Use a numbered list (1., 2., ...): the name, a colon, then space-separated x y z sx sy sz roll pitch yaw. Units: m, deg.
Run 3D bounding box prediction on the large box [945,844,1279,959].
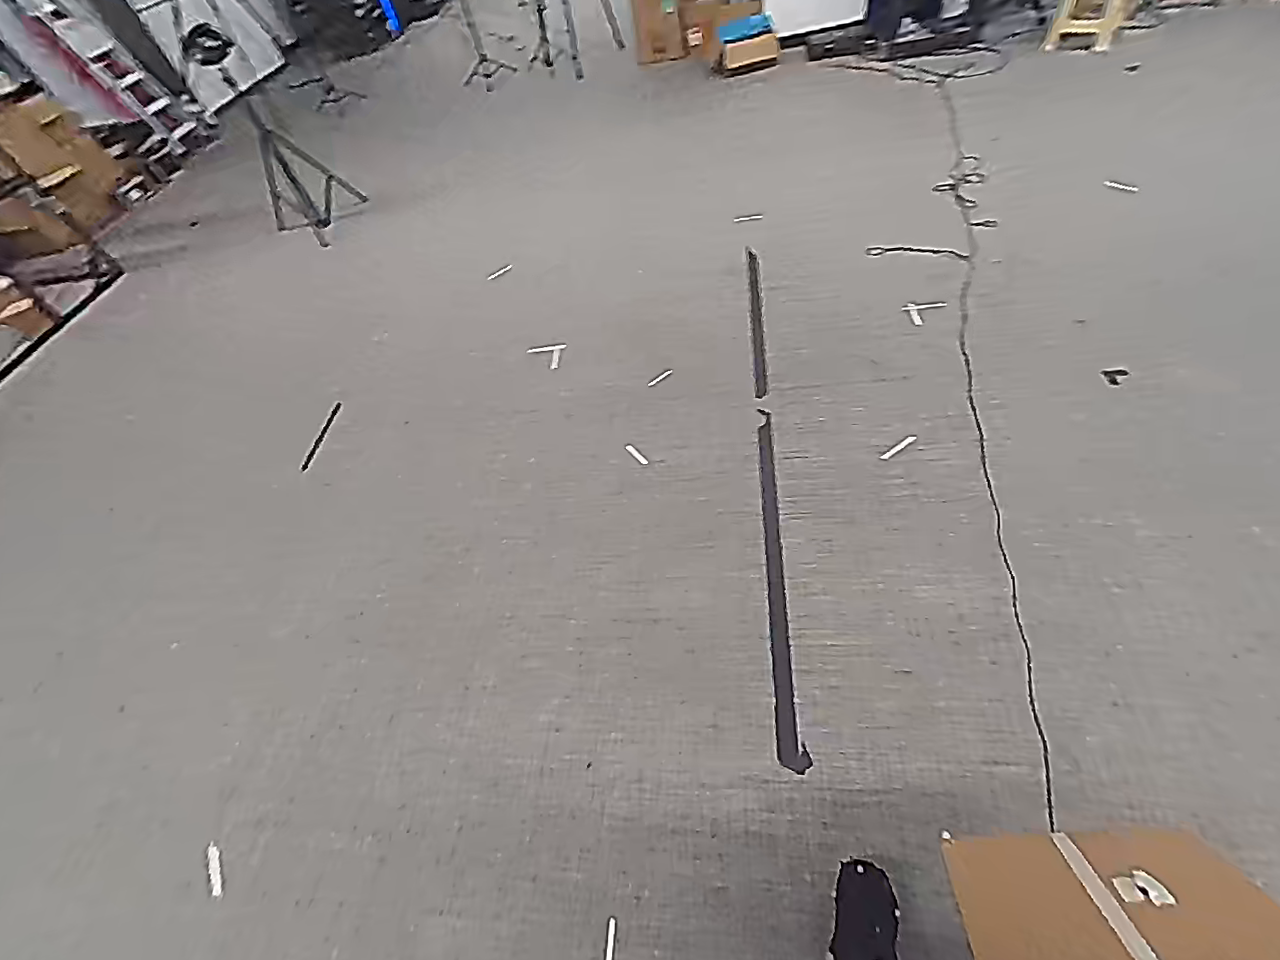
1. large box: 0.567 0.655 0.563 0.320 0.408 0.320 -15 79 18
